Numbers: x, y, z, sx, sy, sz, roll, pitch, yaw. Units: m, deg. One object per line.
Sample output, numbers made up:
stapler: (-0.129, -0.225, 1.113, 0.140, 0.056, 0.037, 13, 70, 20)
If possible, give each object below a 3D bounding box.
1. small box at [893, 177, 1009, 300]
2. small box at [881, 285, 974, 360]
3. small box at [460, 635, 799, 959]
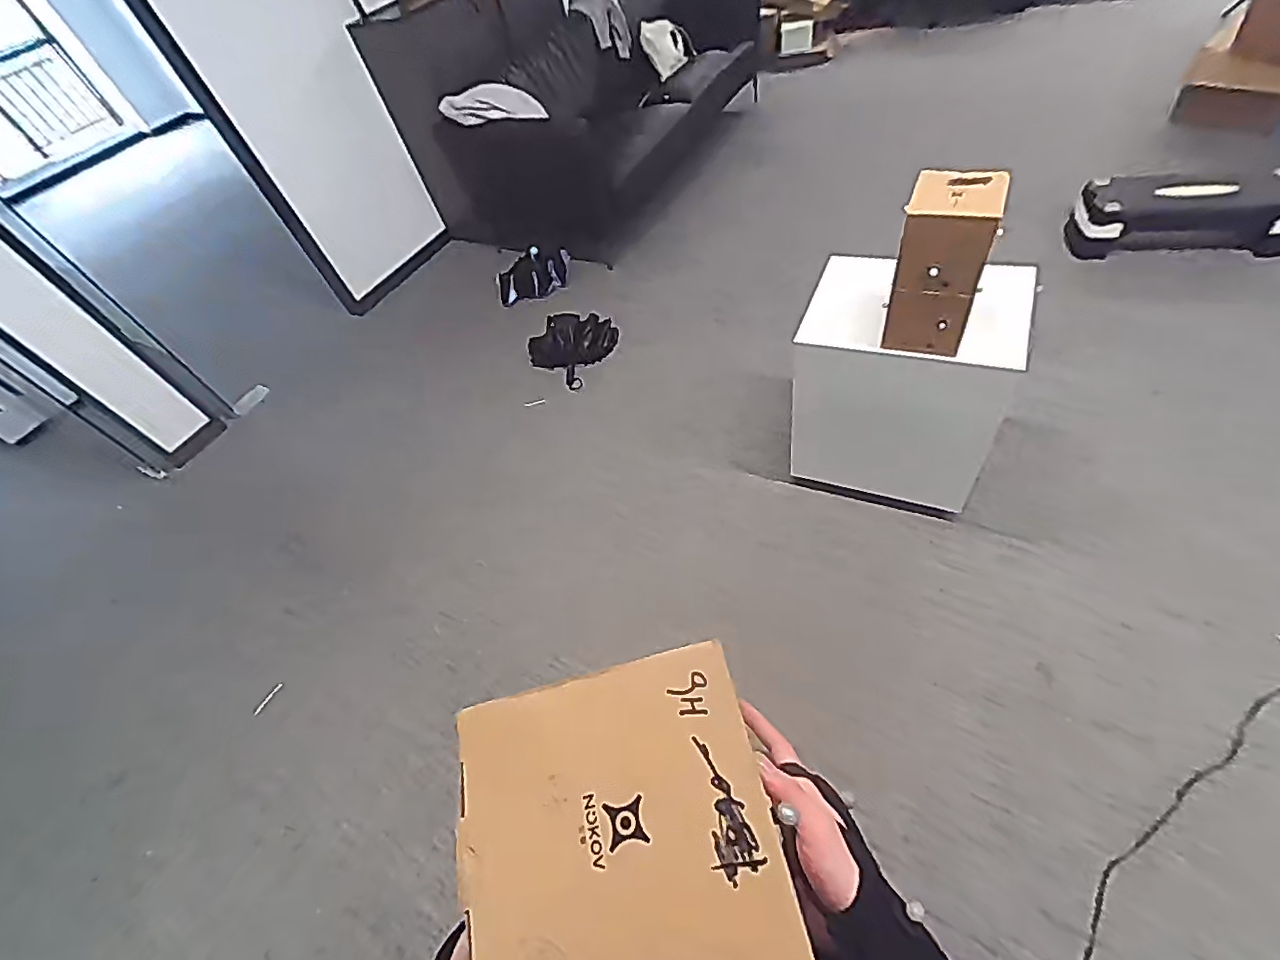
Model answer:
small box: (0.644, -0.506, 1.134, 0.168, 0.176, 0.179, 16, 58, 24)
small box: (0.672, -0.403, 1.259, 0.168, 0.176, 0.179, 15, 55, 23)
small box: (-0.003, 0.225, 0.376, 0.179, 0.176, 0.168, -16, 61, 4)
